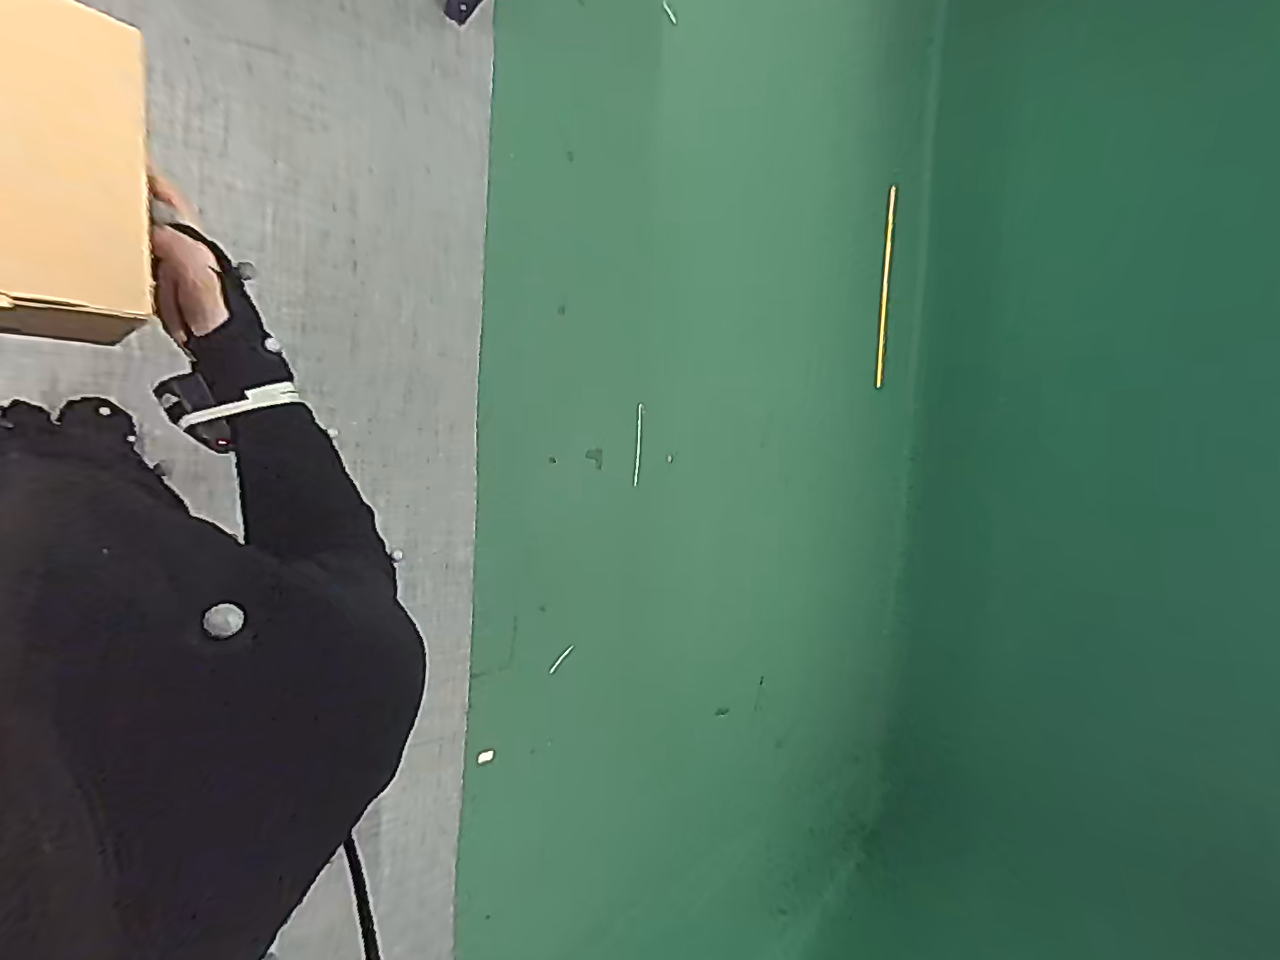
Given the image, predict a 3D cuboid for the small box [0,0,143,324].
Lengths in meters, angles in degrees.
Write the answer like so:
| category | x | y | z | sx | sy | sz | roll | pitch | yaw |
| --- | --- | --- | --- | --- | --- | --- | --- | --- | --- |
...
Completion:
| category | x | y | z | sx | sy | sz | roll | pitch | yaw |
| --- | --- | --- | --- | --- | --- | --- | --- | --- | --- |
| small box | -0.420 | -0.201 | 0.317 | 0.168 | 0.176 | 0.179 | -4 | 98 | -50 |
